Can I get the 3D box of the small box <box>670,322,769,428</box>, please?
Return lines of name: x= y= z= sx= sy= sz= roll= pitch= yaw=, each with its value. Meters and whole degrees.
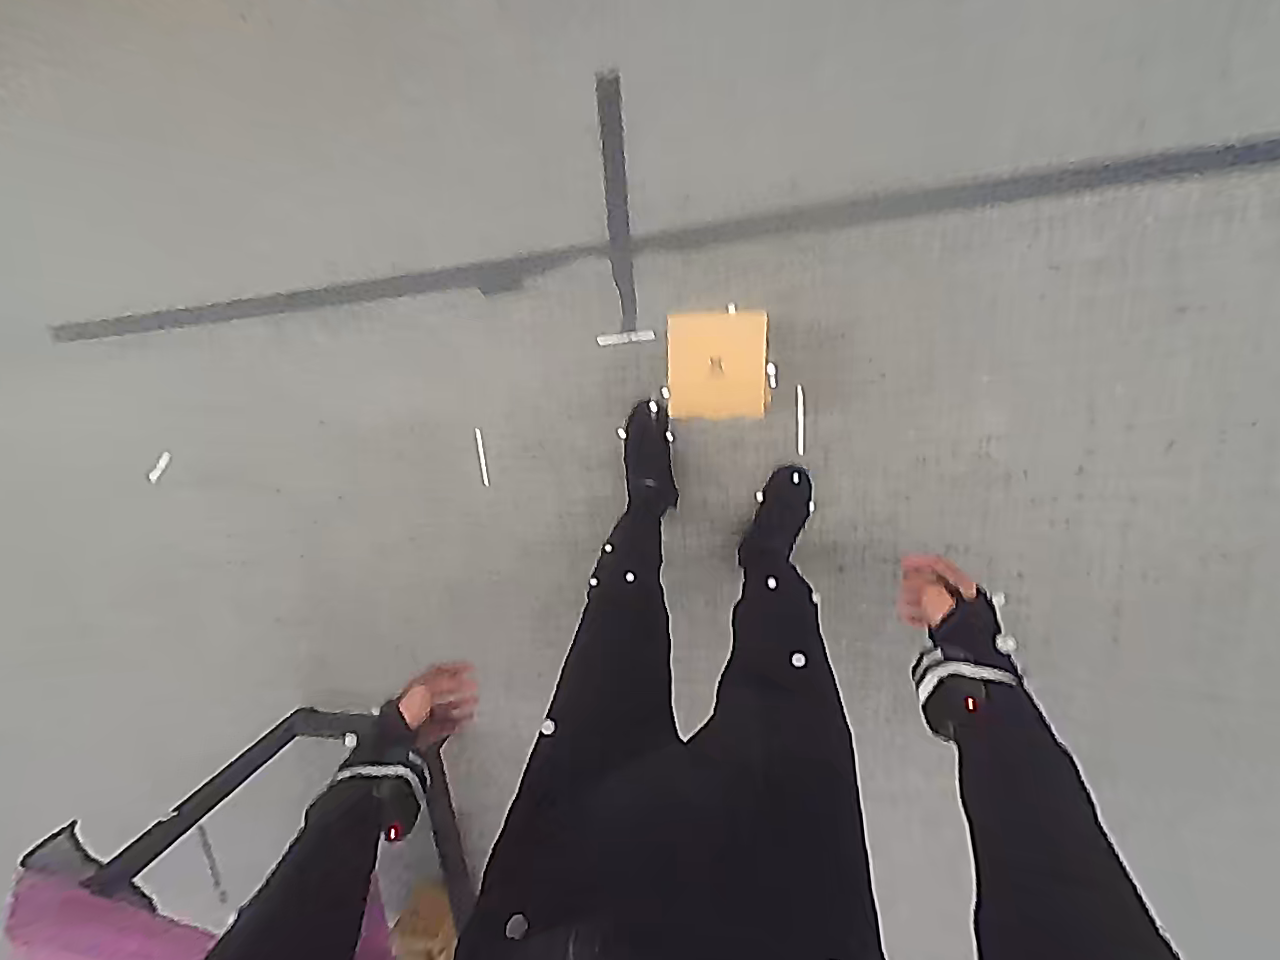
small box: x=0.146 y=-0.195 z=0.990 sx=0.168 sy=0.176 sz=0.179 roll=1 pitch=106 yaw=12
